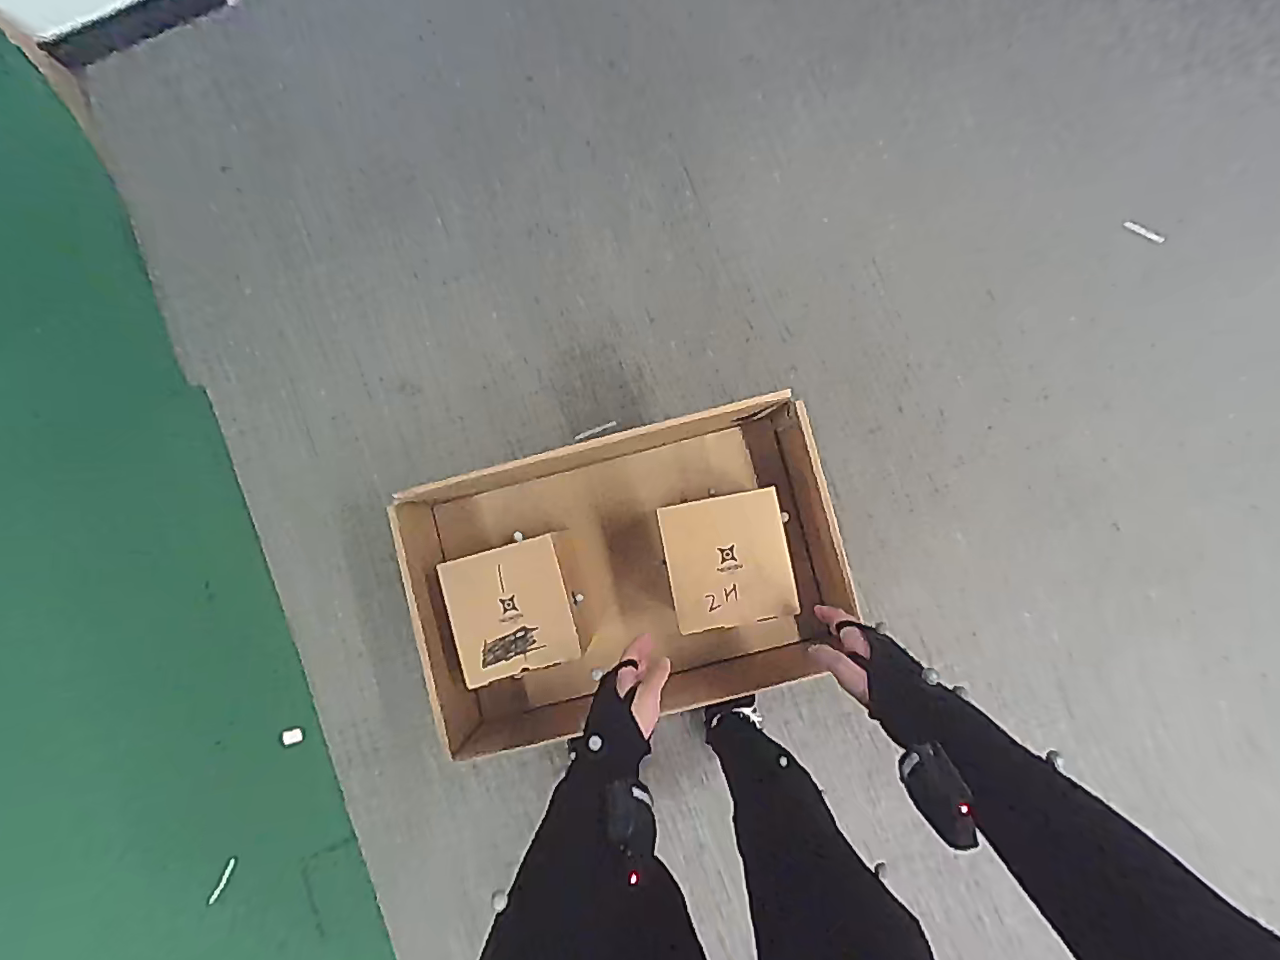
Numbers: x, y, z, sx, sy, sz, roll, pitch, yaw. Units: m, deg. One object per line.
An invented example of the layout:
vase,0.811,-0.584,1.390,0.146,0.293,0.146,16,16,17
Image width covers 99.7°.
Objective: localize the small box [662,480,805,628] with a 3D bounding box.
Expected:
small box,0.126,0.103,0.796,0.168,0.176,0.179,-10,87,2
